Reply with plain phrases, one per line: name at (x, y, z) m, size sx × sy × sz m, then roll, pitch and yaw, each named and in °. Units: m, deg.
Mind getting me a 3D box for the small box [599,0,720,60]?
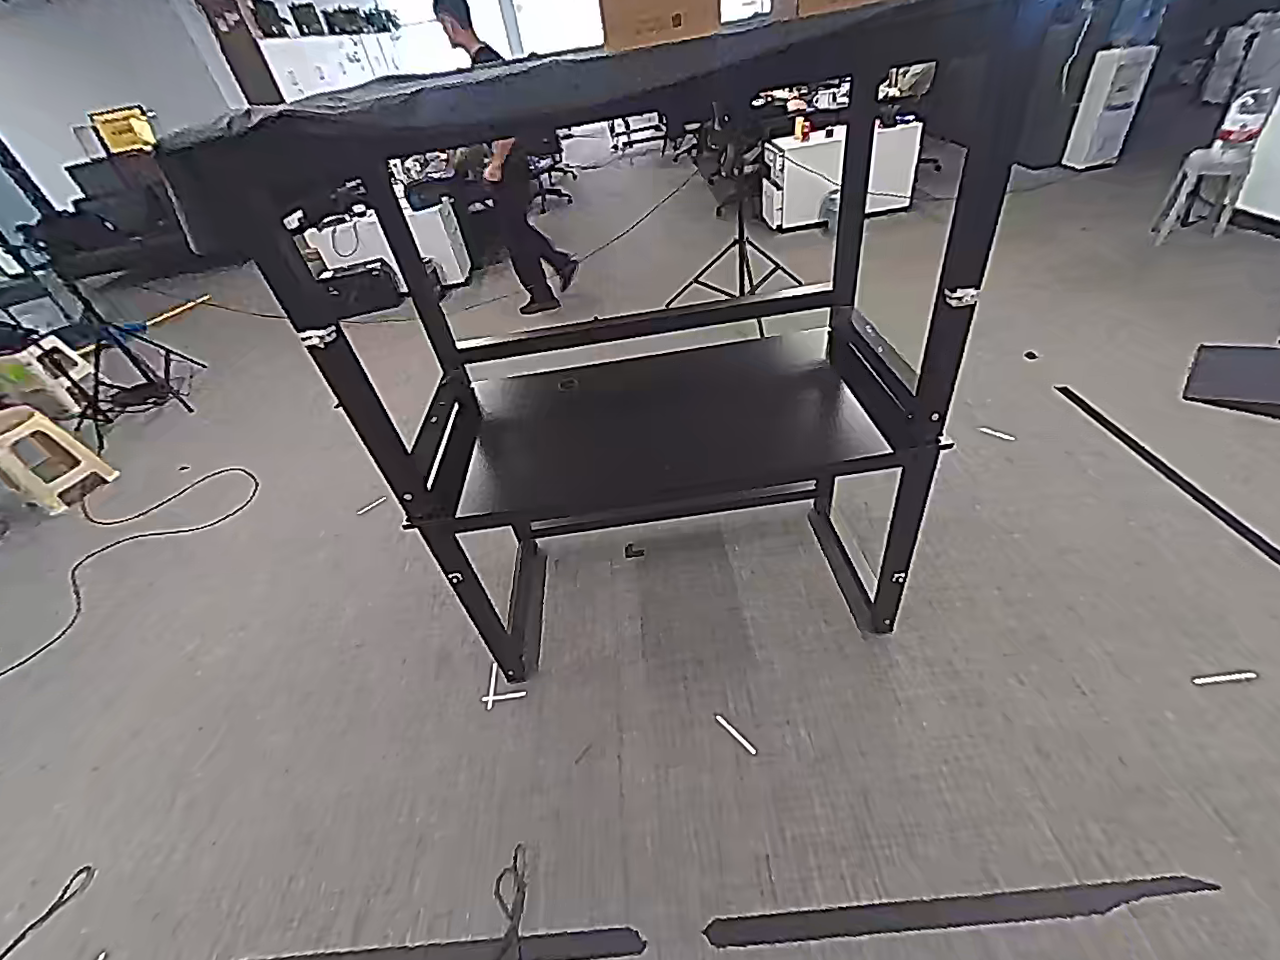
small box at (0.022, -0.724, 0.777) m, size 0.168 × 0.176 × 0.179 m, roll -7°, pitch 39°, yaw 5°
